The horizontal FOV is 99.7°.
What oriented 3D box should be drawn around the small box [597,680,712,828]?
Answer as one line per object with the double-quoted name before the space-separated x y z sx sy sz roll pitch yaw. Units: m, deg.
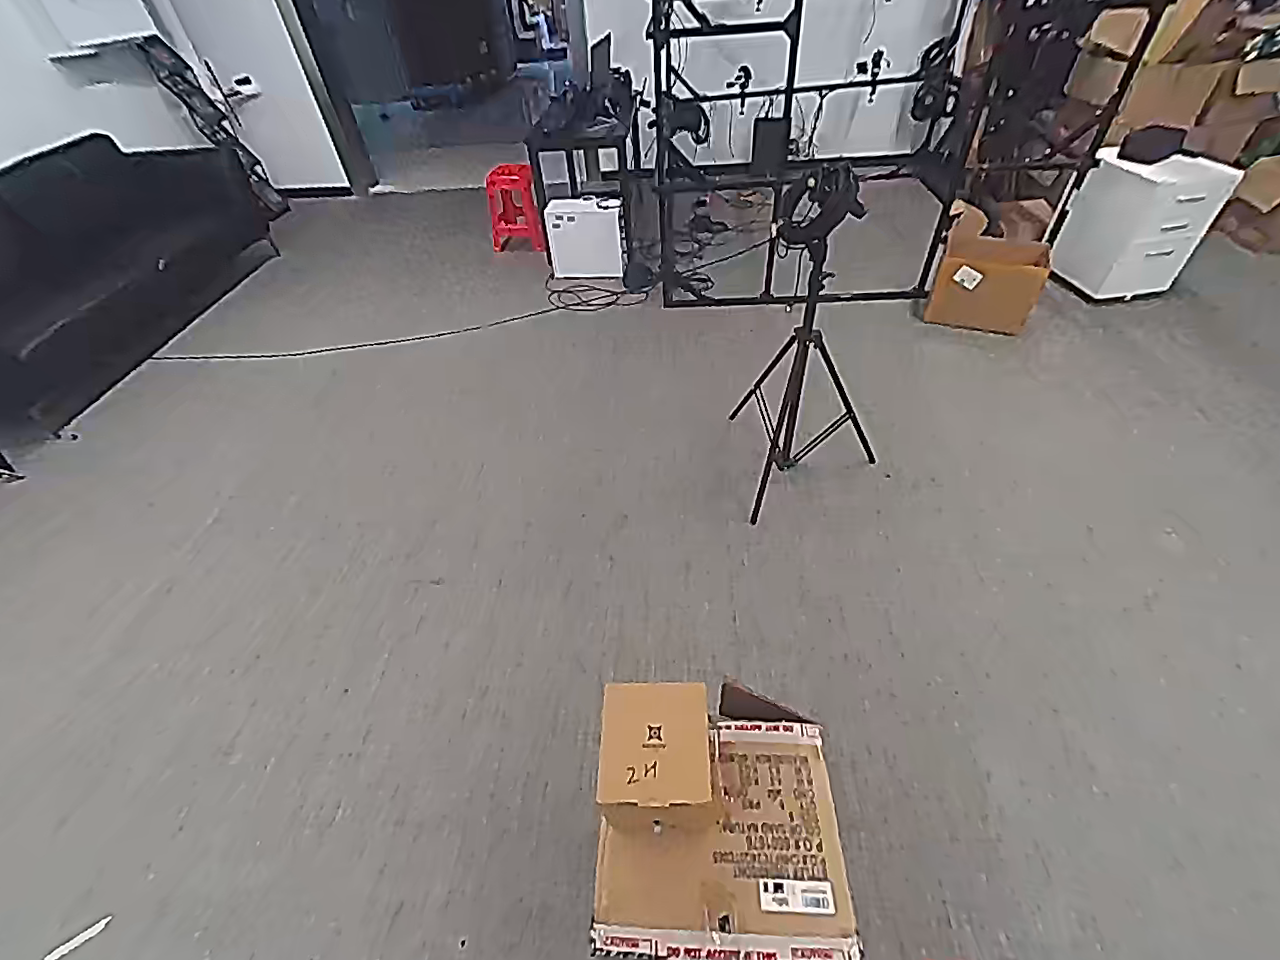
"small box" 0.029 0.443 0.876 0.168 0.176 0.179 -2 48 5
